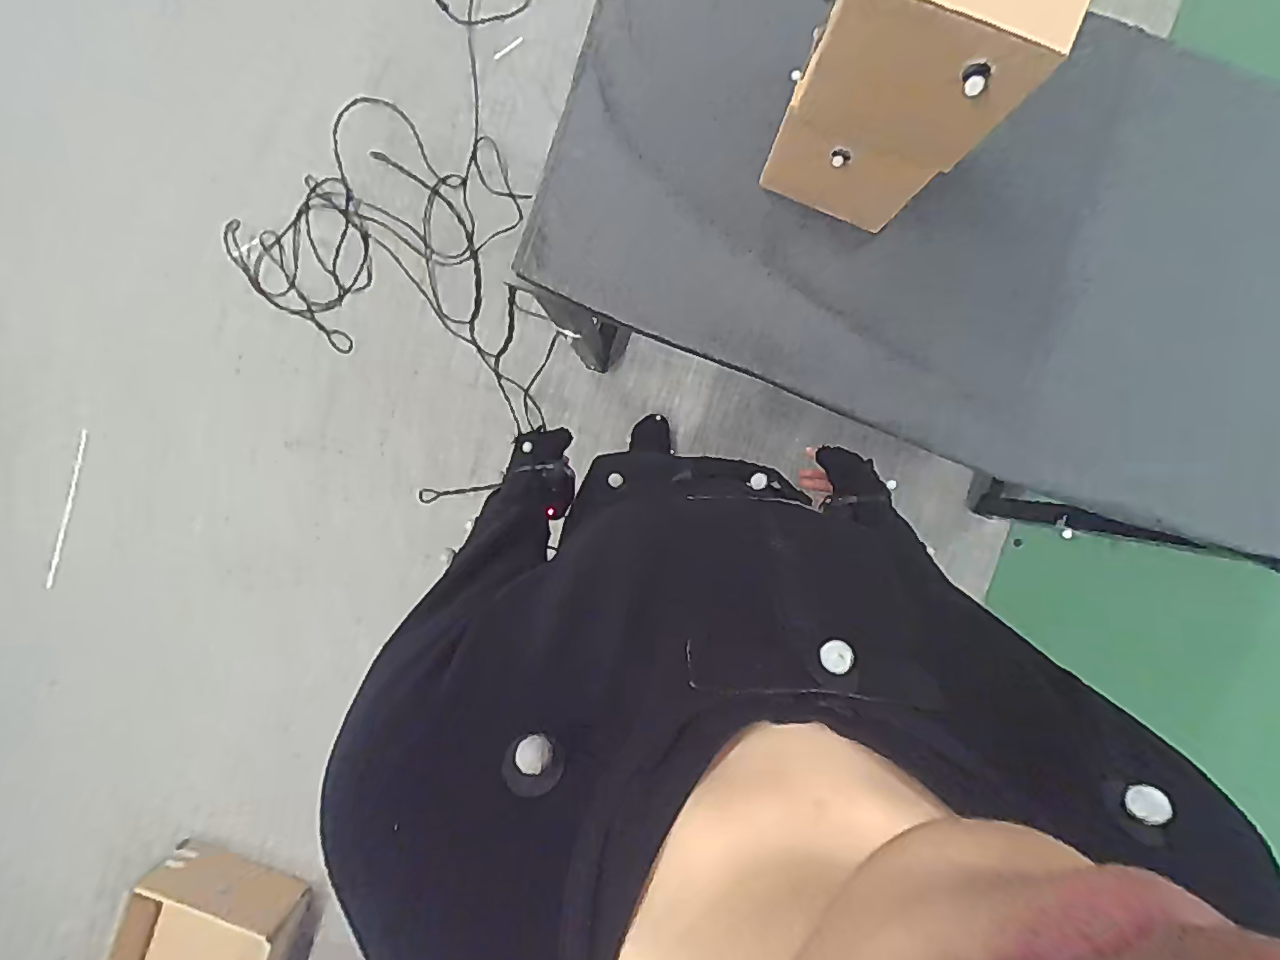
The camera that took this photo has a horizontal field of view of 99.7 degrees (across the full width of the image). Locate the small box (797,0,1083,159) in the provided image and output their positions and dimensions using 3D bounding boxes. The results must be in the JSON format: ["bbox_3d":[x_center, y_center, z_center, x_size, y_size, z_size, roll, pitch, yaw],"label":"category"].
[{"bbox_3d":[0.271,-0.433,0.492,0.179,0.176,0.168,21,91,0],"label":"small box"}]

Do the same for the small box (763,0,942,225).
[{"bbox_3d":[0.270,-0.444,0.657,0.179,0.176,0.168,22,92,0],"label":"small box"}]
